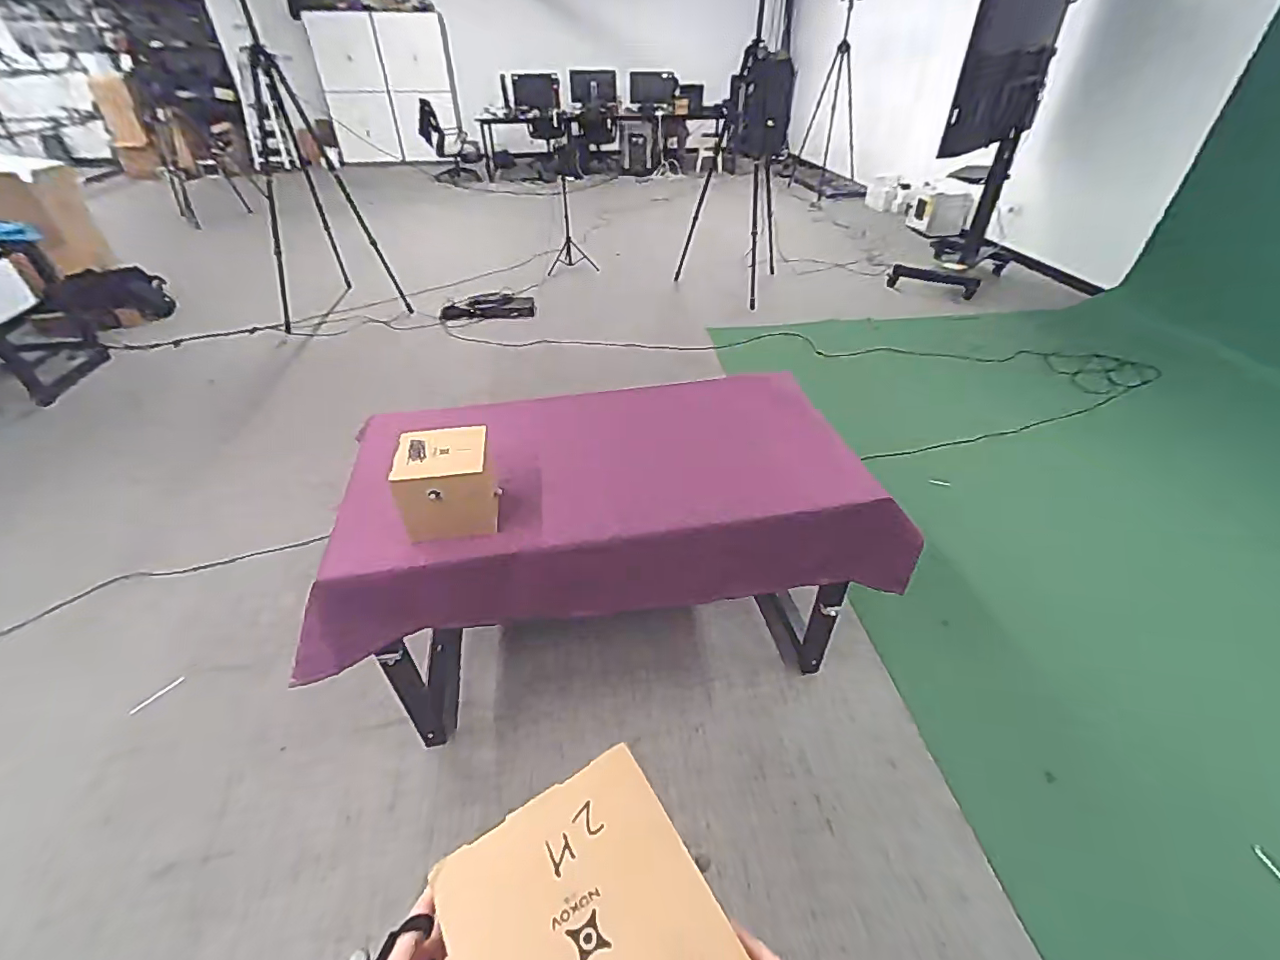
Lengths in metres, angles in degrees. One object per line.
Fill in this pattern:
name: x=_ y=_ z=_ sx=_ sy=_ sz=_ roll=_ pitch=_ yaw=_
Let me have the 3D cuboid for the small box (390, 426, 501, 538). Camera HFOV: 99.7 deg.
small box: x=-0.396 y=0.006 z=1.131 sx=0.179 sy=0.176 sz=0.168 roll=-6 pitch=39 yaw=-8
